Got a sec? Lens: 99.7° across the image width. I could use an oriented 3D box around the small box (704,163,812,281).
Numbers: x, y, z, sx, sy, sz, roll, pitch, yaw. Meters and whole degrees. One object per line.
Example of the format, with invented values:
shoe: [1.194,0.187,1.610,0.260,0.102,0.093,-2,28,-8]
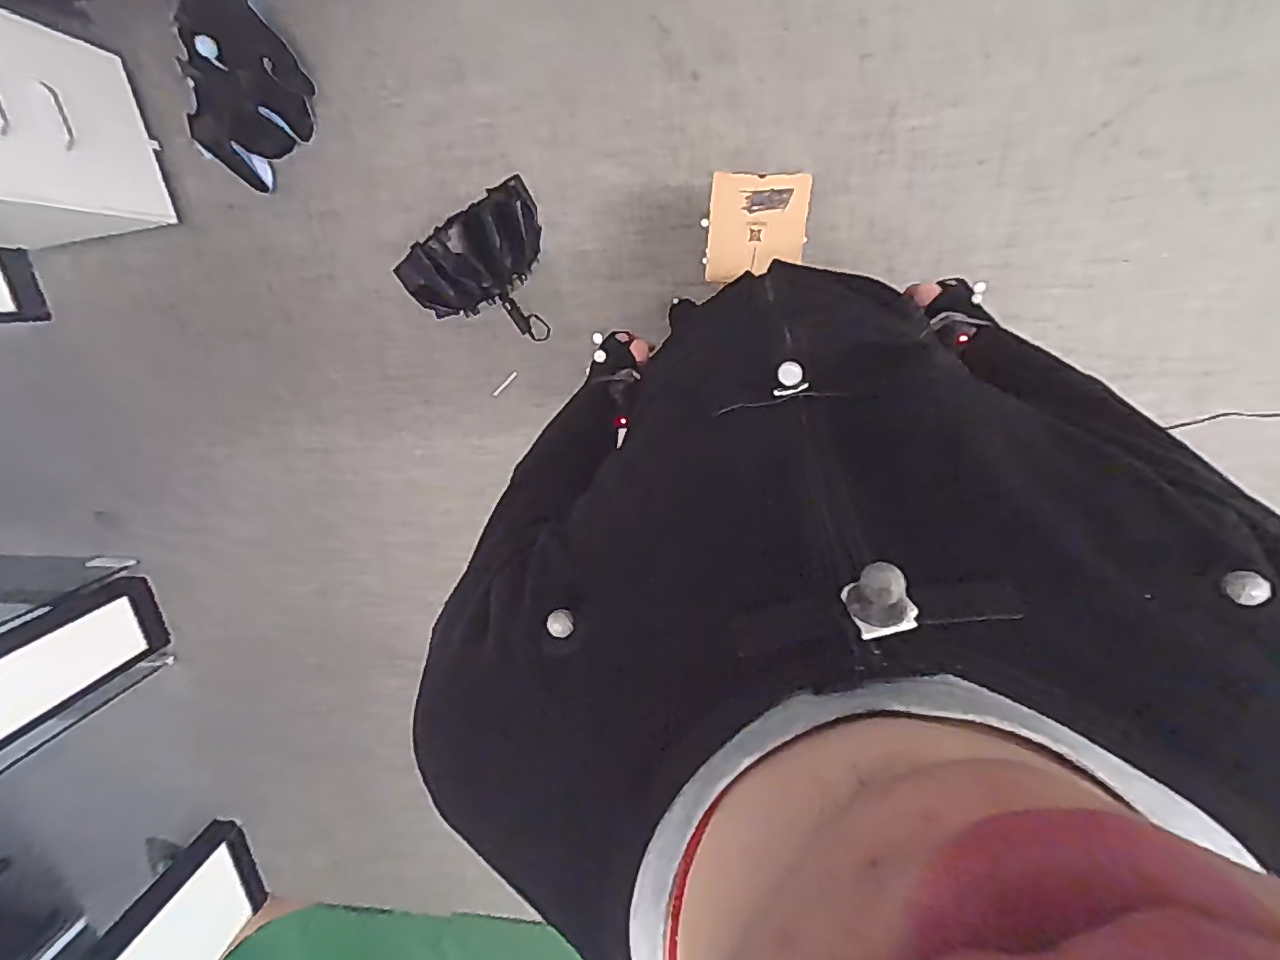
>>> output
small box: [0.209,-0.467,1.000,0.168,0.176,0.179,5,110,6]
